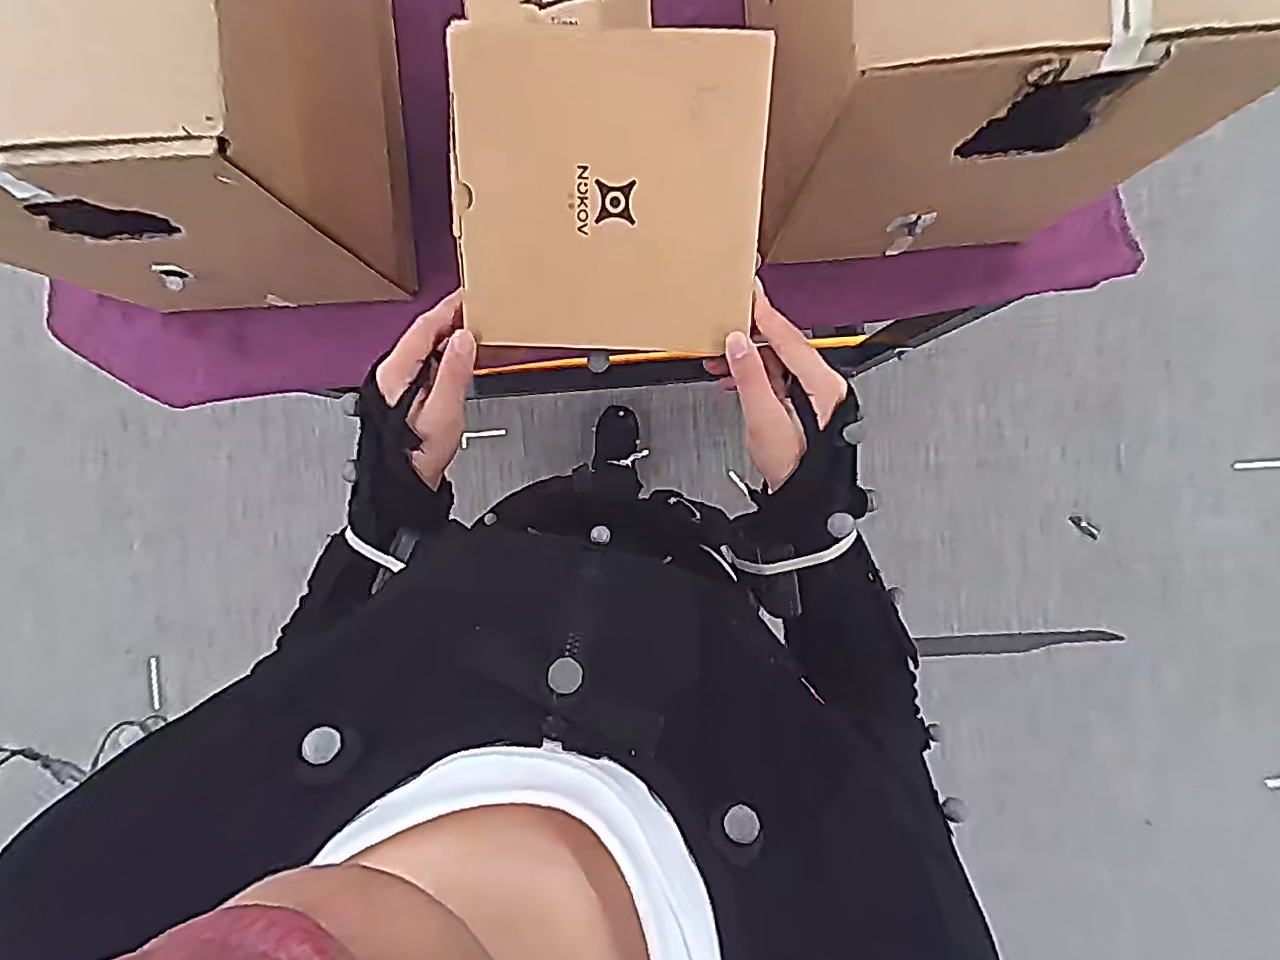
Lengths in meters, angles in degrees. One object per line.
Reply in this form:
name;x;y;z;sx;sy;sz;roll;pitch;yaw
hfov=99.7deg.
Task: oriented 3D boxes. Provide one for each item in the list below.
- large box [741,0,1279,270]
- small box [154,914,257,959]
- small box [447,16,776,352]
large box;0.271;-0.453;0.478;0.320;0.320;0.408;-5;90;1
small box;-1.104;1.238;1.361;0.179;0.176;0.168;-5;91;2
small box;-0.016;-0.183;0.381;0.179;0.176;0.168;3;107;2
